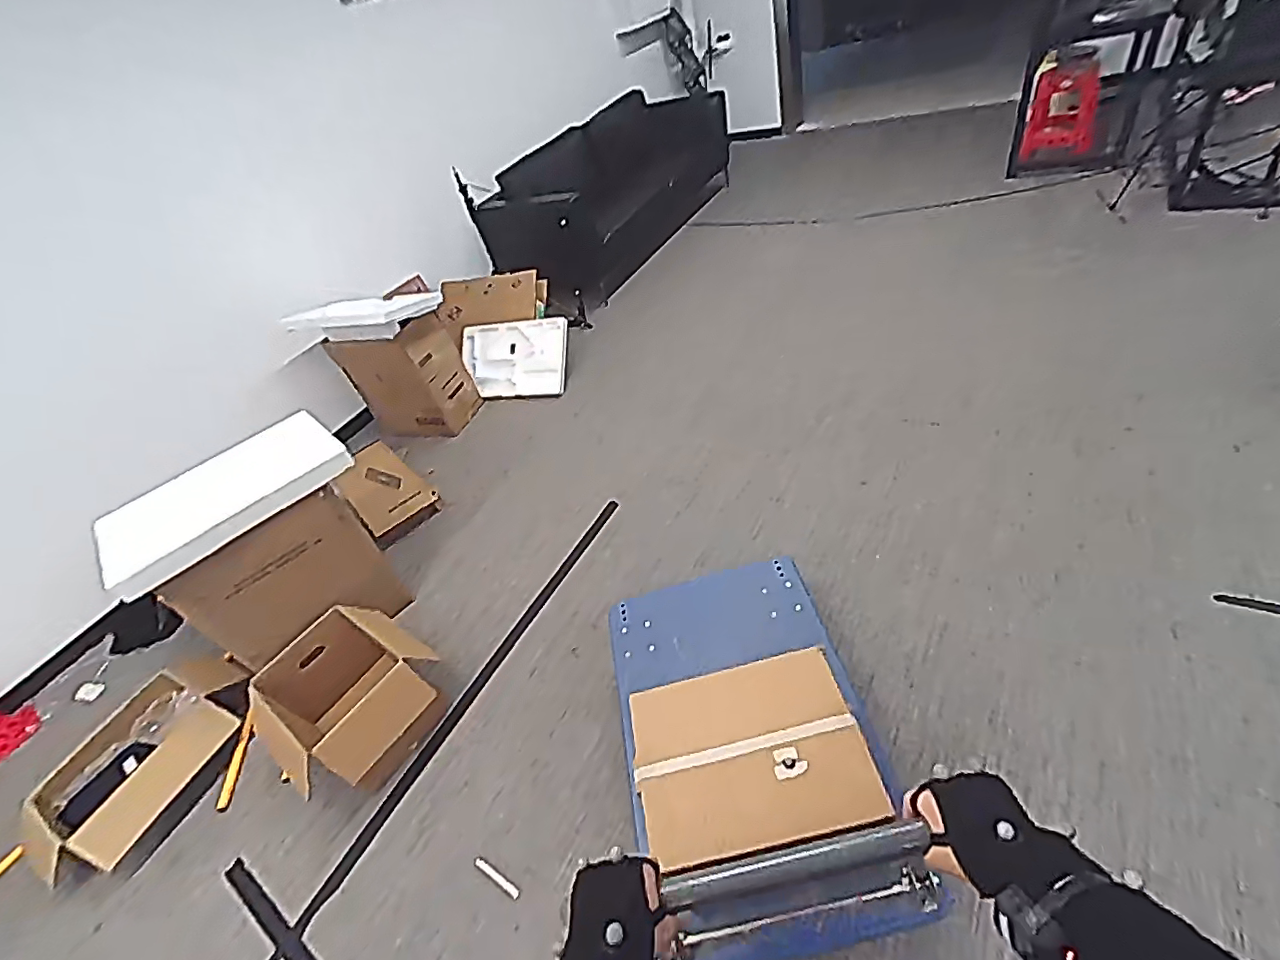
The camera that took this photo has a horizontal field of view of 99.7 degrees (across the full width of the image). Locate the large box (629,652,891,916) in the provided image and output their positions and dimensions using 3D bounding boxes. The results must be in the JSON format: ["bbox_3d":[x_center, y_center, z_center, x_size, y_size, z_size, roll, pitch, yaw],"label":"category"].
[{"bbox_3d":[0.221,0.604,1.074,0.408,0.320,0.320,-15,42,2],"label":"large box"}]
